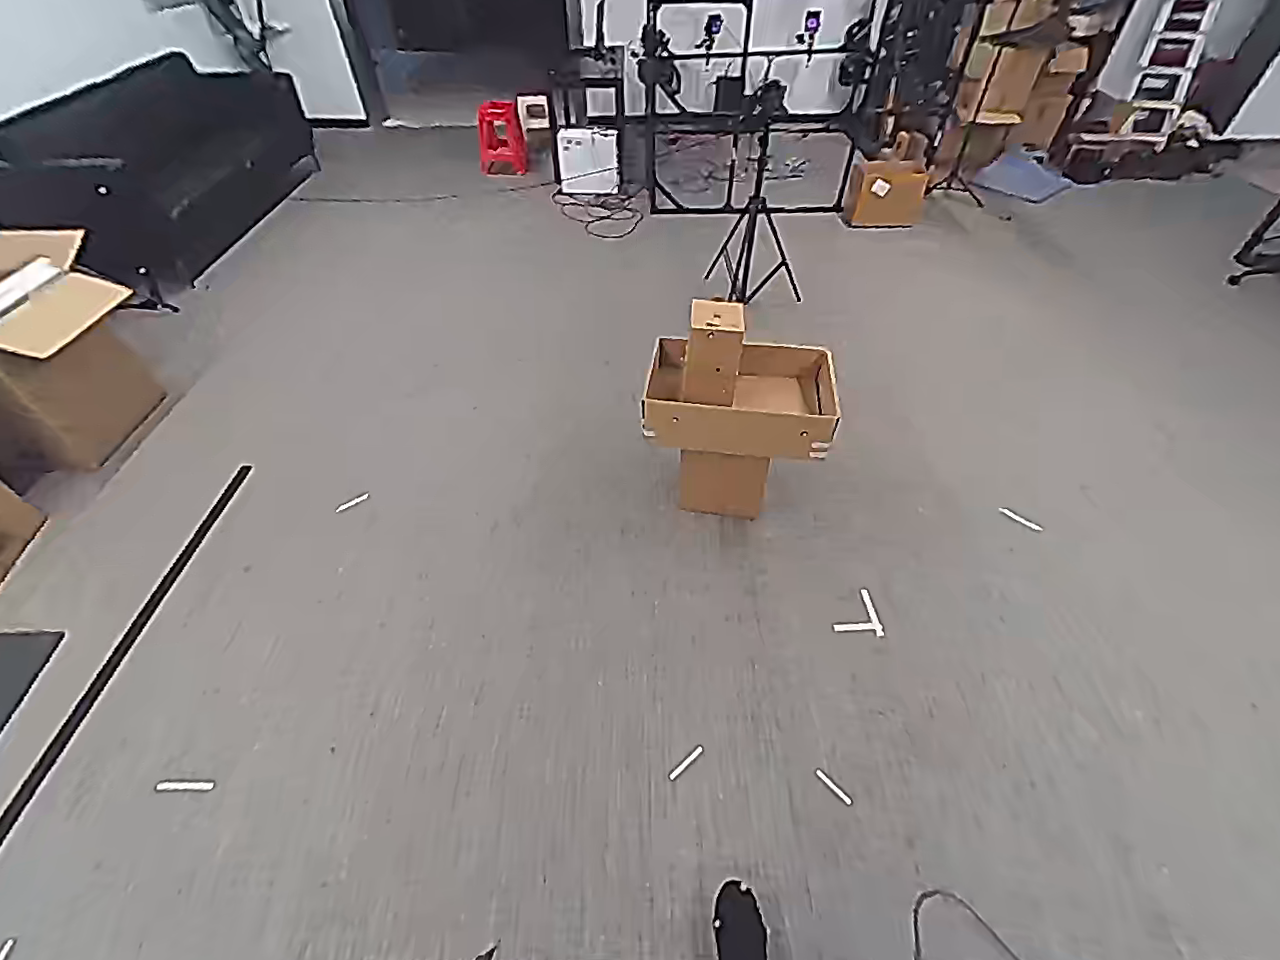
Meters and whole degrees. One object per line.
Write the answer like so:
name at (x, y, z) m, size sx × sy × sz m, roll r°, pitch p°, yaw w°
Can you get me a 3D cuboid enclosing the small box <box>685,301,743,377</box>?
small box at (0.236, -0.457, 1.748) m, size 0.168 × 0.176 × 0.179 m, roll 5°, pitch 46°, yaw 3°
